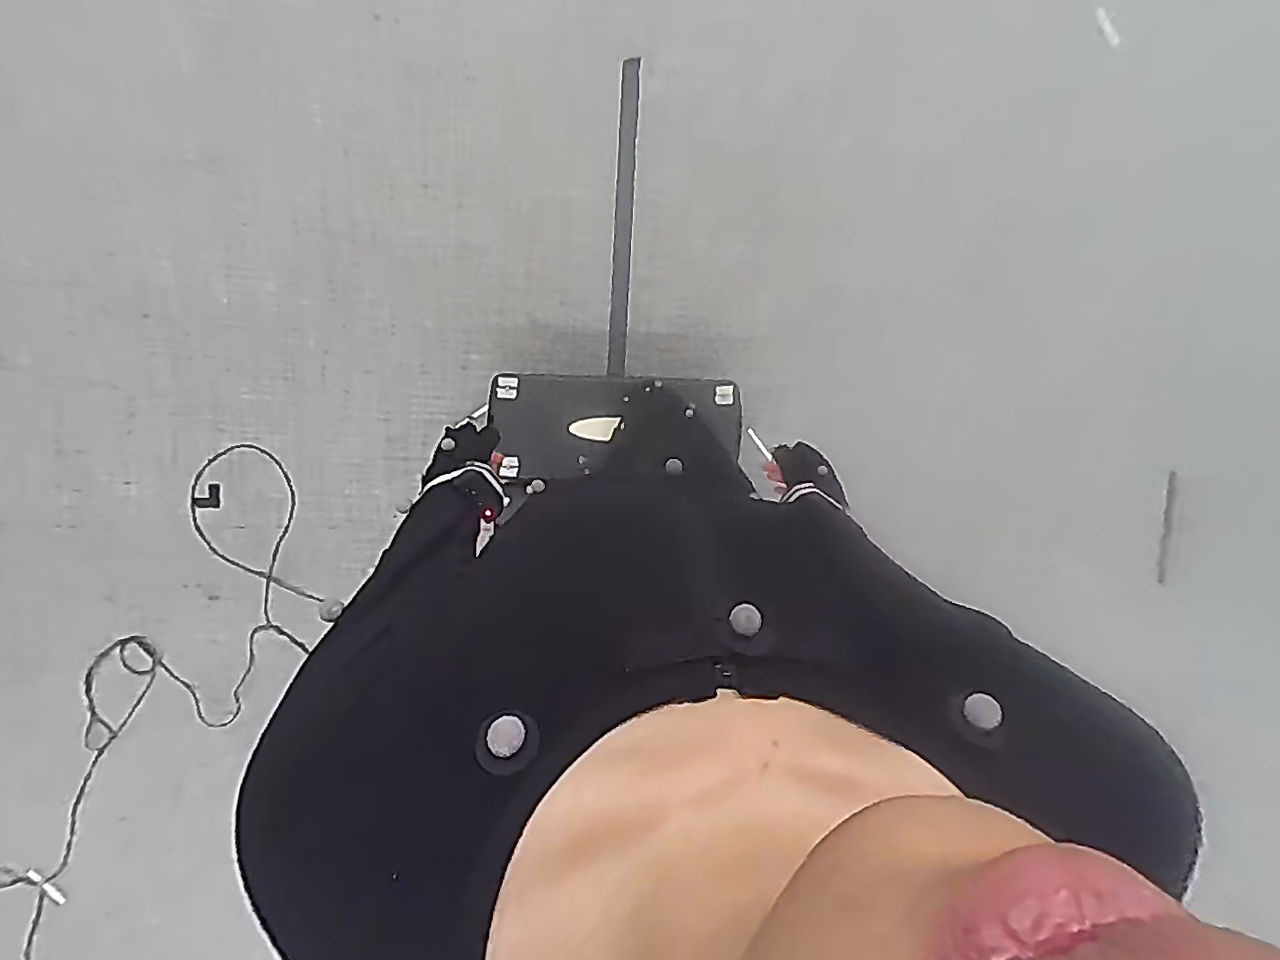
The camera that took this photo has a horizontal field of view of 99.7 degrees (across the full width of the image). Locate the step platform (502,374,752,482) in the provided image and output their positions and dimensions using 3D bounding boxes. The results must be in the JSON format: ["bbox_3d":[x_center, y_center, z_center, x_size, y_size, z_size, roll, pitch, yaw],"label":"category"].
[{"bbox_3d":[-0.035,-0.144,1.505,0.684,0.204,0.286,0,96,-6],"label":"step platform"}]
